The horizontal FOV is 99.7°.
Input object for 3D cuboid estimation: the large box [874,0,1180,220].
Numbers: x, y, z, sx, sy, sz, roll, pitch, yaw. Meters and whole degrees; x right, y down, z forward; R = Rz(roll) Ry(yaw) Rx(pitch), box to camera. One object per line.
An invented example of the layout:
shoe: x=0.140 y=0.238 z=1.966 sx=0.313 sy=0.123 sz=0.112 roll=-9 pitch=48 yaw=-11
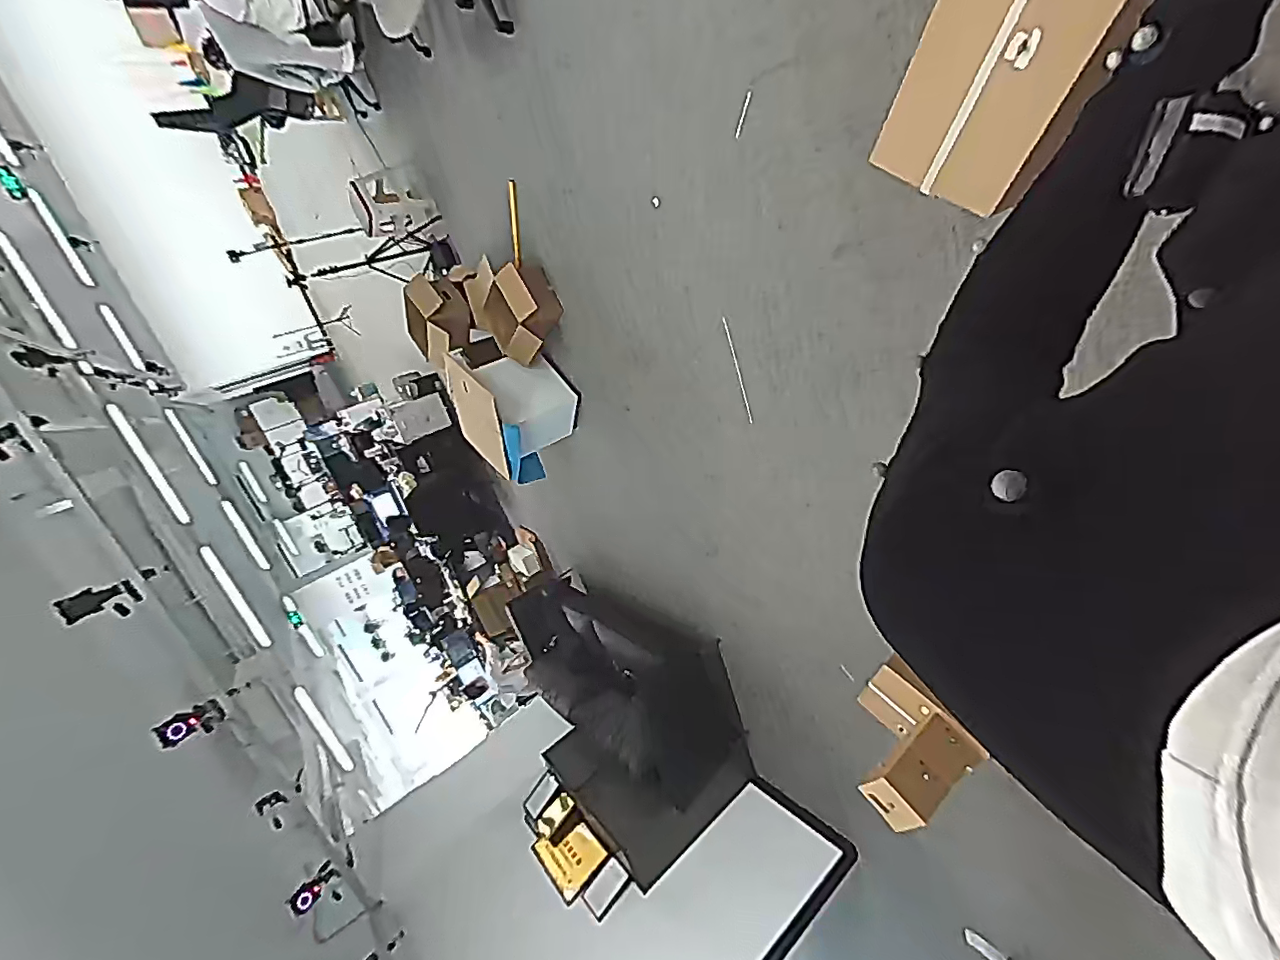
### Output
large box: x=0.777 y=-0.825 z=1.122 sx=0.320 sy=0.320 sz=0.408 roll=45 pitch=147 yaw=25

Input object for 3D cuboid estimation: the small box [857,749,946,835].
small box: x=0.858 y=1.020 z=1.771 sx=0.168 sy=0.176 sz=0.179 roll=47 pitch=147 yaw=24

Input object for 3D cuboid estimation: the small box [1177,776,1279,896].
small box: x=1.568 y=0.925 z=1.429 sx=0.179 sy=0.176 sz=0.168 roll=5 pitch=118 yaw=57
